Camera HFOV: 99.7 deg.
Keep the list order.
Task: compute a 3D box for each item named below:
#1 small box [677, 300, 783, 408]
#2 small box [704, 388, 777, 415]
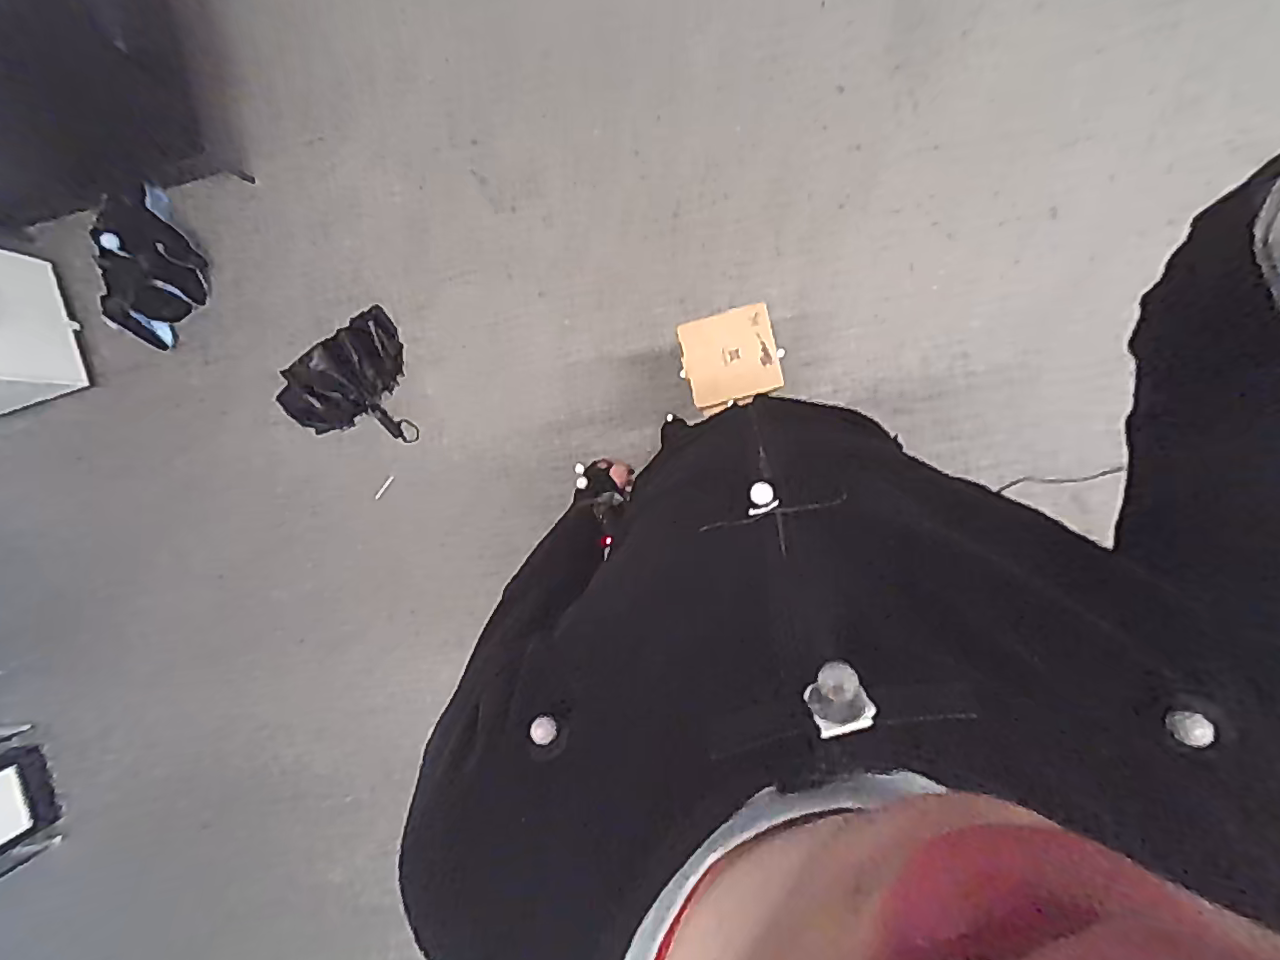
[{"bbox_3d":[0.187,-0.248,1.113,0.179,0.176,0.168,-13,92,11],"label":"small box"},{"bbox_3d":[0.217,-0.256,1.274,0.168,0.176,0.179,-13,94,10],"label":"small box"}]
